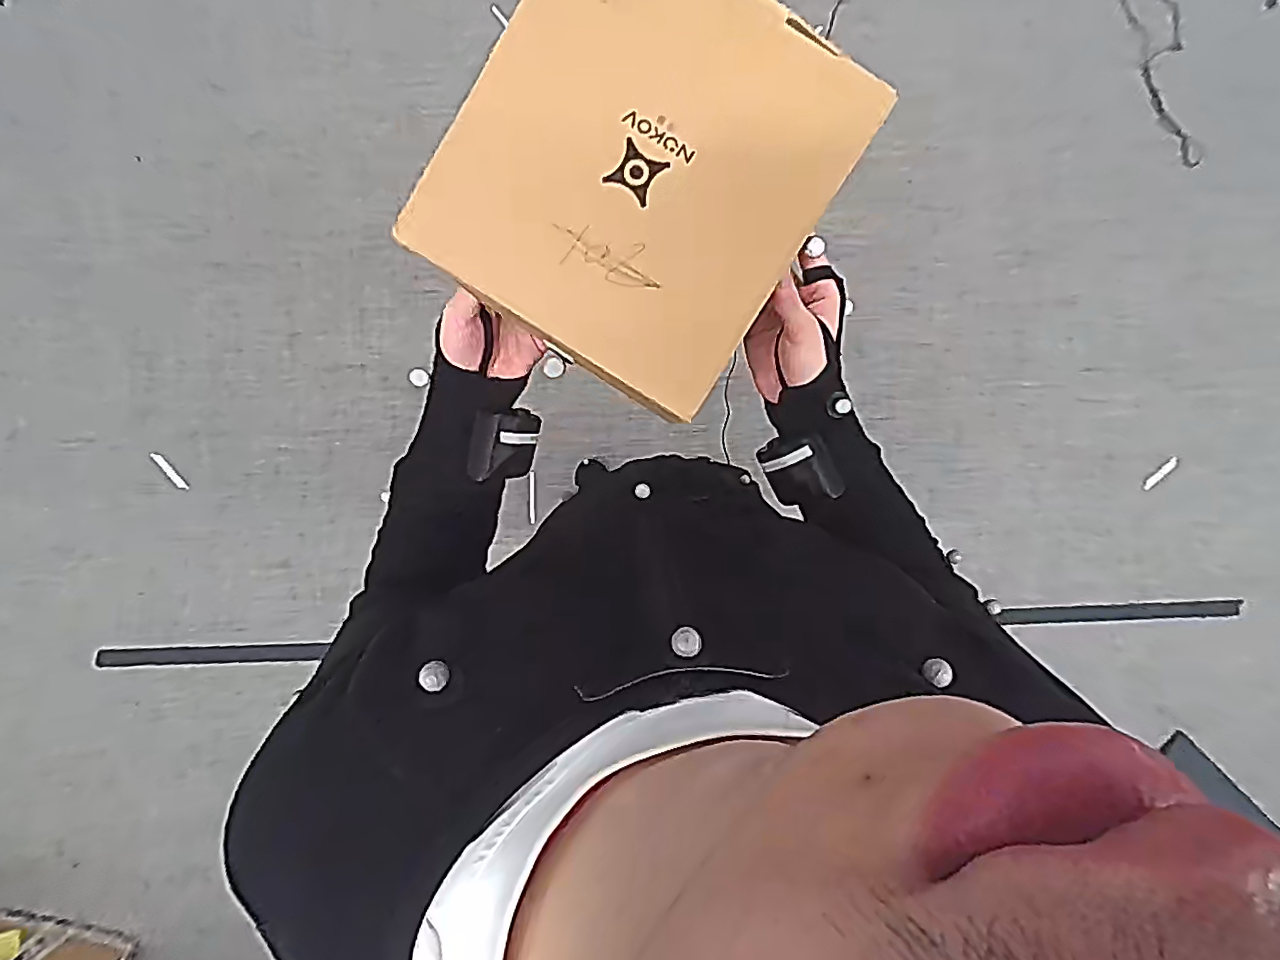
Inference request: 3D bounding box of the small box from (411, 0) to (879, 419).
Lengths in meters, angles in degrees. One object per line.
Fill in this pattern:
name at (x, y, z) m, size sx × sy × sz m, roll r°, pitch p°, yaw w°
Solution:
small box at (0.002, -0.153, 0.335) m, size 0.168 × 0.176 × 0.179 m, roll 31°, pitch 97°, yaw -1°
